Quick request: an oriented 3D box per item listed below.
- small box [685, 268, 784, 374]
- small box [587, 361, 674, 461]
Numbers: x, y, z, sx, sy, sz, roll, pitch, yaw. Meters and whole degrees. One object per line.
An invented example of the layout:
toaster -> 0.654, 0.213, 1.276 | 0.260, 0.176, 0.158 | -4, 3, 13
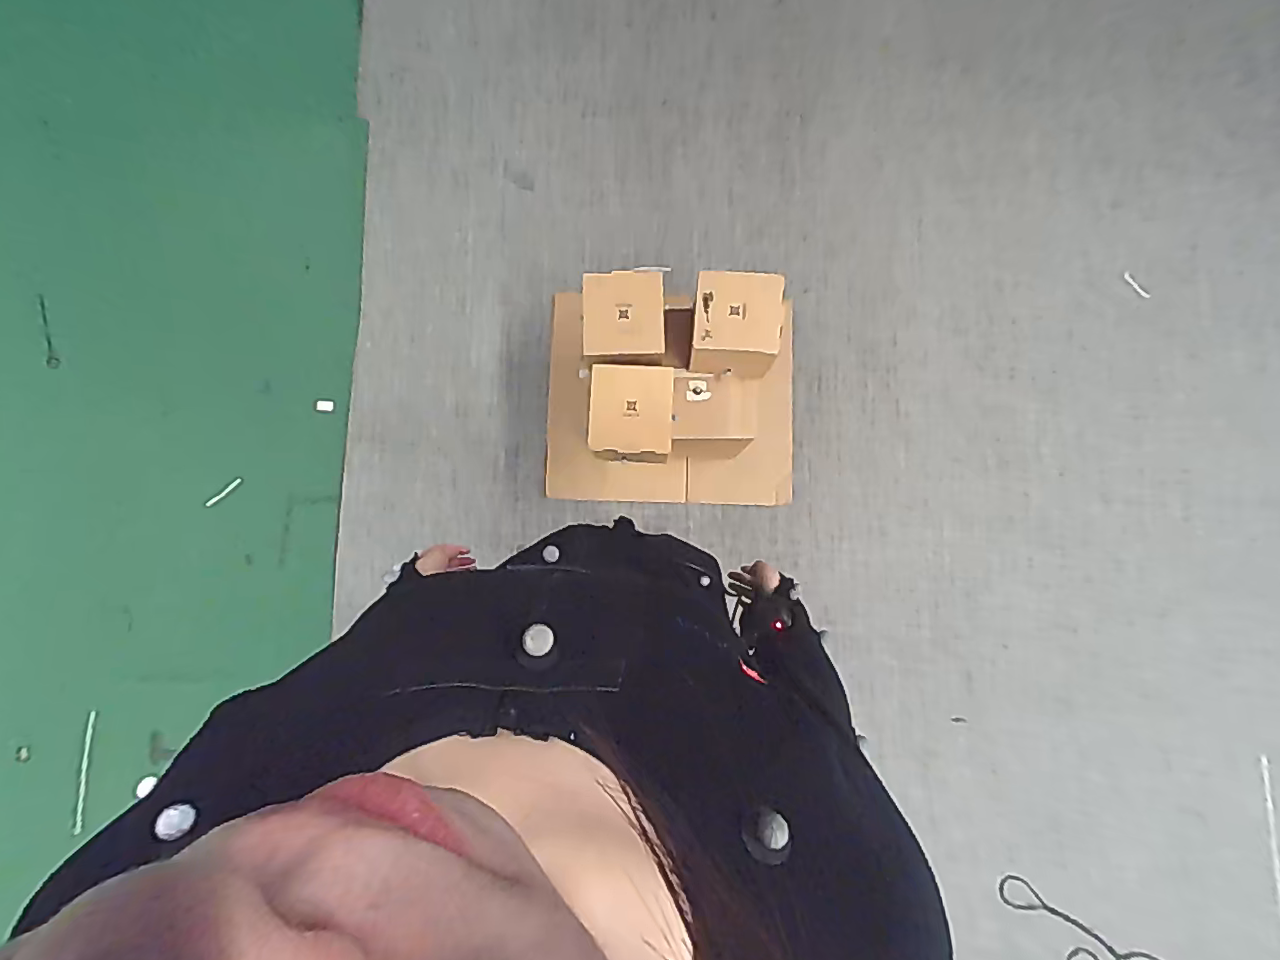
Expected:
small box -> 0.195, -0.332, 1.158 | 0.179, 0.176, 0.168 | 5, 85, 2
small box -> -0.020, -0.140, 1.143 | 0.168, 0.176, 0.179 | 2, 86, 0
